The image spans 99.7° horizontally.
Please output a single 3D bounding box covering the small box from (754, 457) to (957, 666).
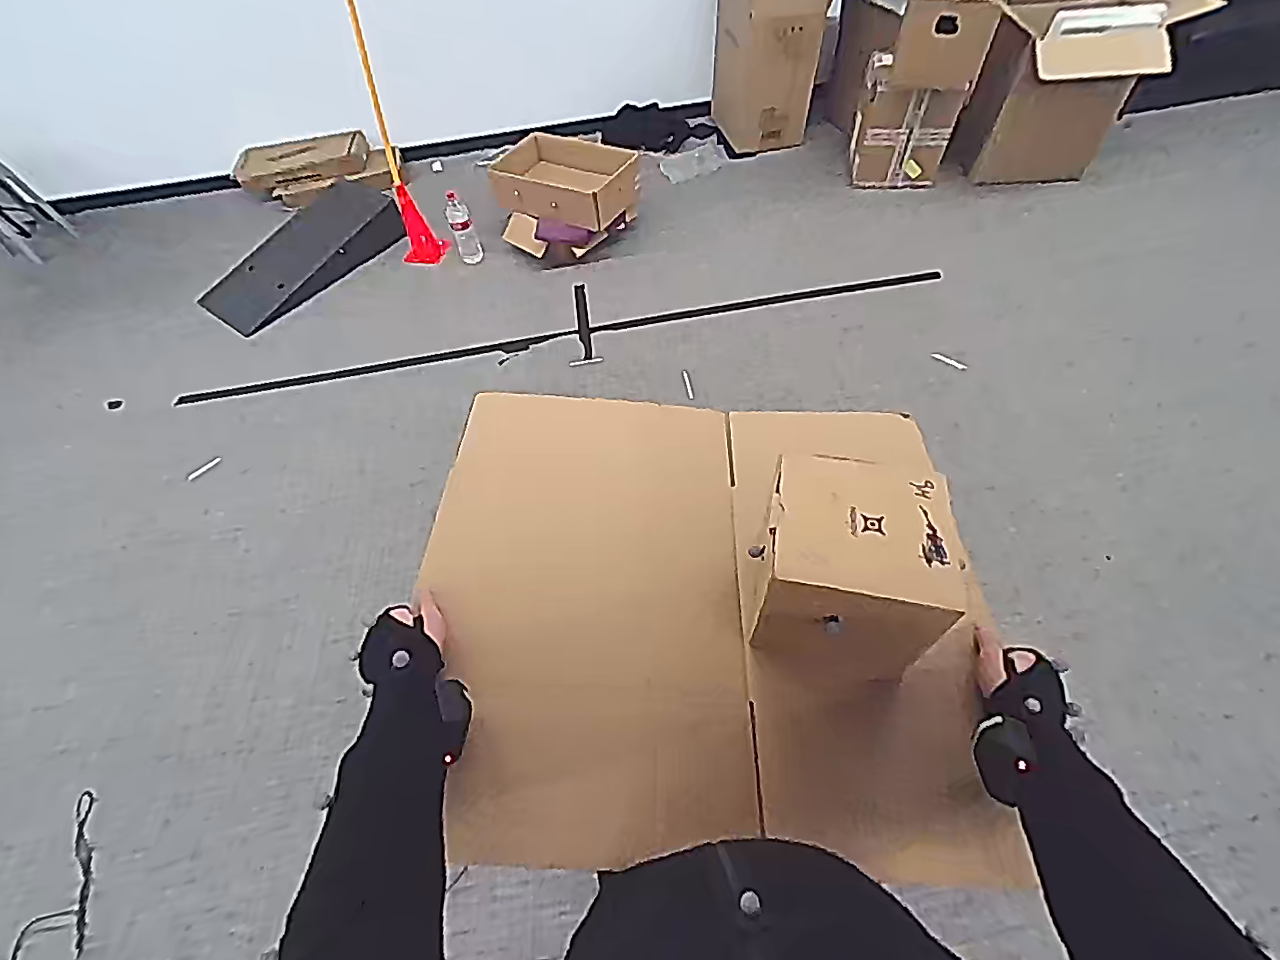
[{"bbox_3d":[0.229,0.096,0.619,0.179,0.176,0.168,8,53,10],"label":"small box"}]
